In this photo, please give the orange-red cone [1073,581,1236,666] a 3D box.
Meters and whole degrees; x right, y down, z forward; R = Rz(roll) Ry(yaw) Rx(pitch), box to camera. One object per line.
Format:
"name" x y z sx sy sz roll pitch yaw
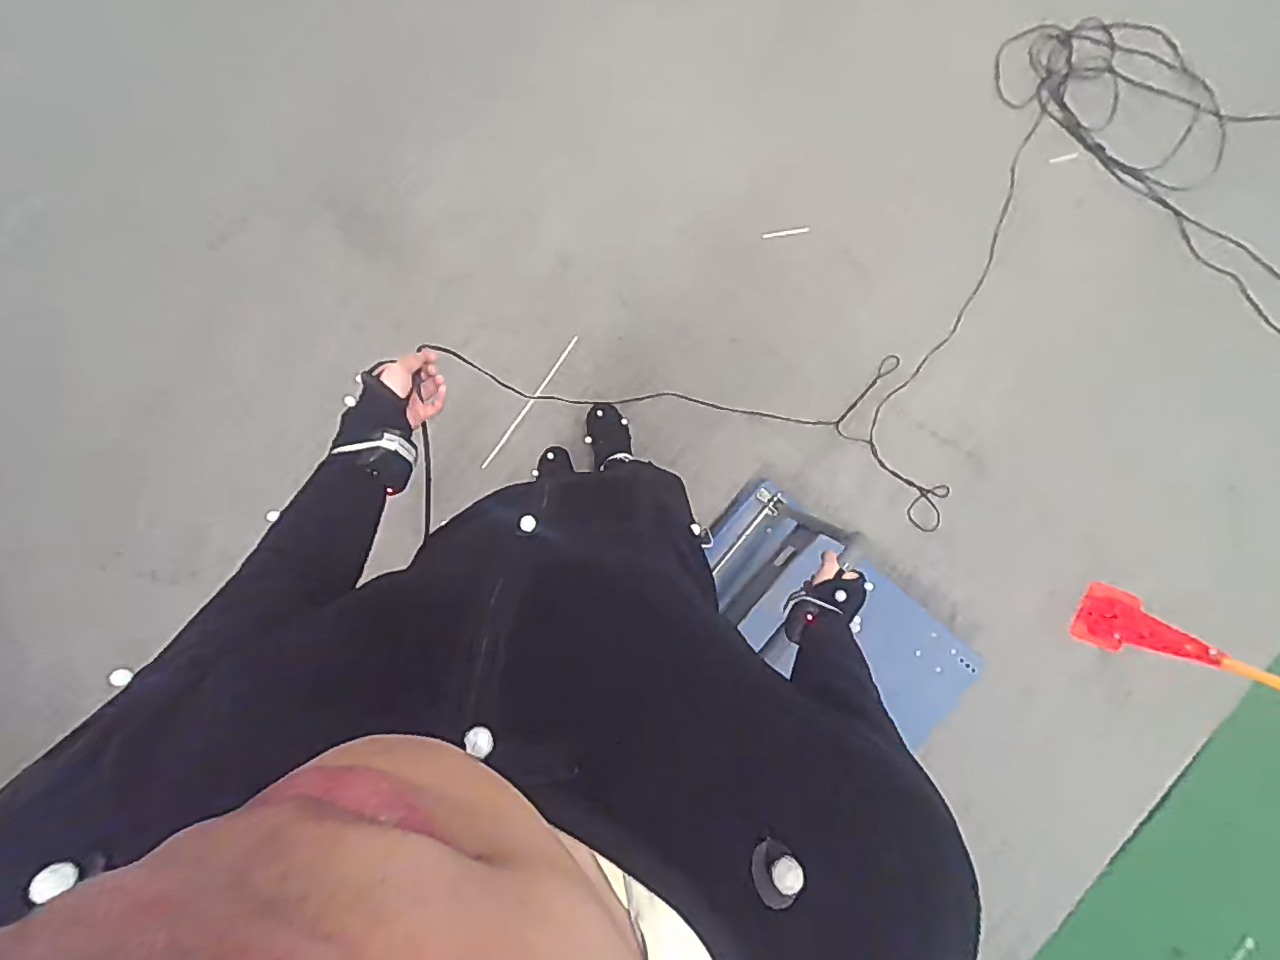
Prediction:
"orange-red cone" 1.551 0.460 1.610 0.198 0.360 0.199 22 92 -6
